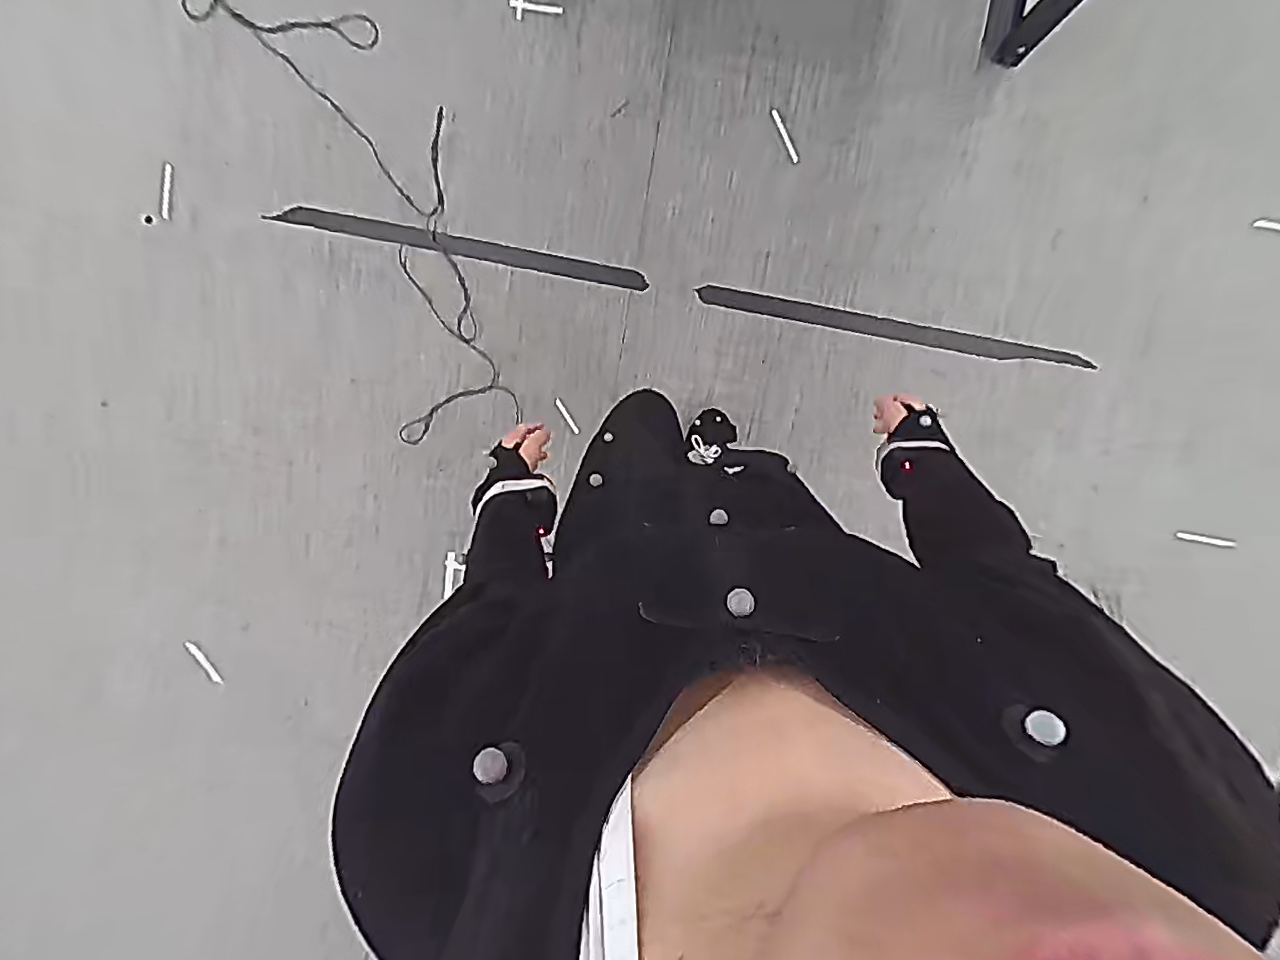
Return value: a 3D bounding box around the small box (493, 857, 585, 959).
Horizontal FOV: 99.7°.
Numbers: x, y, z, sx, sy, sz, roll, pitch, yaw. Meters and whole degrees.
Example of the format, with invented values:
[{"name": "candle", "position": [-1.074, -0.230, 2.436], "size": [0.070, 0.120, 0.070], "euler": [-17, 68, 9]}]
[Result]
[{"name": "small box", "position": [-0.212, 0.963, 1.170], "size": [0.168, 0.176, 0.179], "euler": [-1, 98, 1]}]
